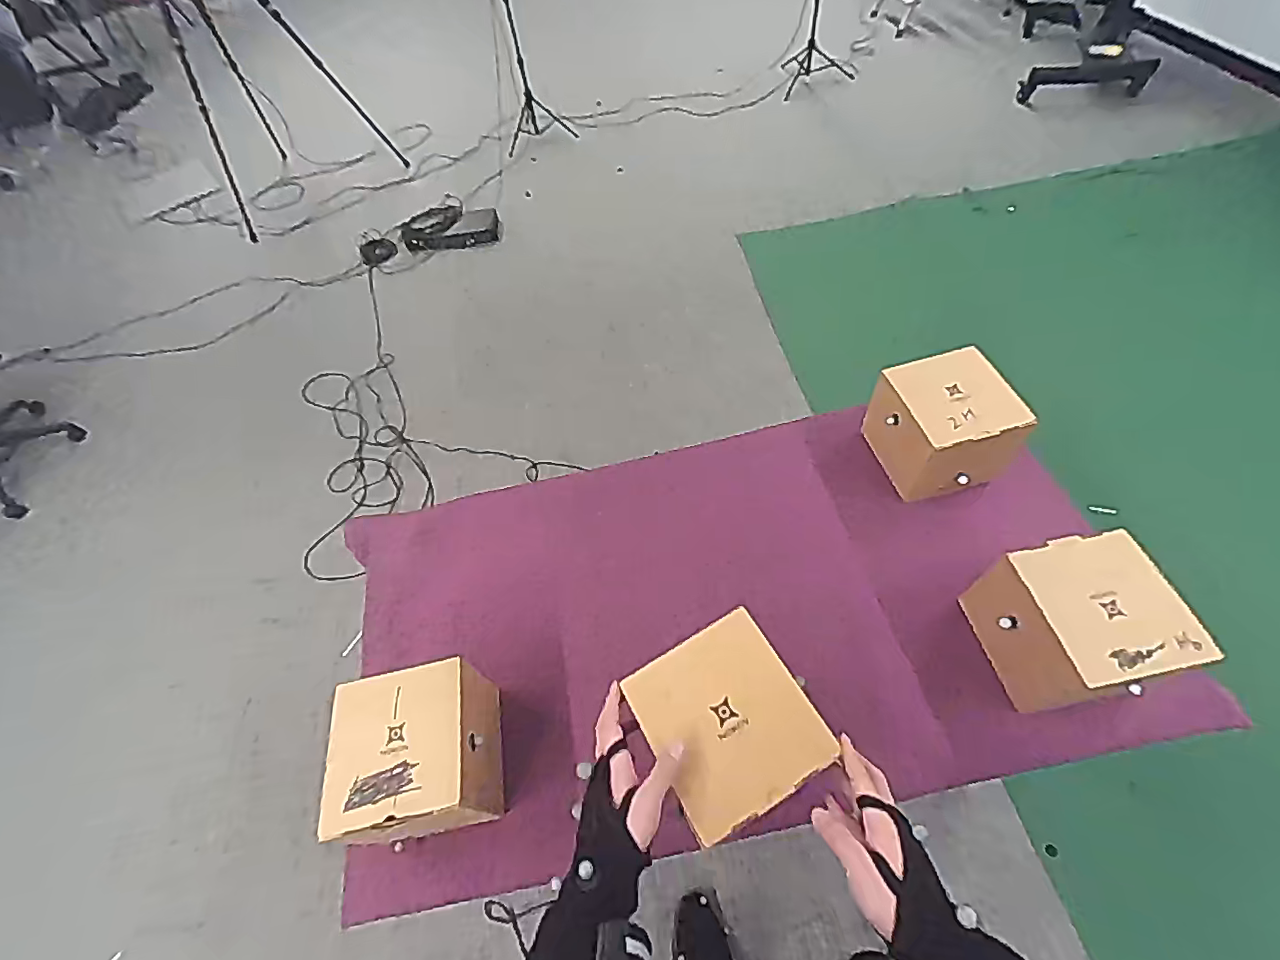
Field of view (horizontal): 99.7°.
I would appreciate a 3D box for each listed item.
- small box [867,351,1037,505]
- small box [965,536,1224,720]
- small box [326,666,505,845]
[{"bbox_3d":[0.512,-0.085,0.924,0.168,0.176,0.179,-16,56,1],"label":"small box"},{"bbox_3d":[0.578,0.202,0.725,0.168,0.176,0.179,-13,56,1],"label":"small box"},{"bbox_3d":[-0.289,0.378,0.736,0.168,0.176,0.179,-13,54,-1],"label":"small box"}]
